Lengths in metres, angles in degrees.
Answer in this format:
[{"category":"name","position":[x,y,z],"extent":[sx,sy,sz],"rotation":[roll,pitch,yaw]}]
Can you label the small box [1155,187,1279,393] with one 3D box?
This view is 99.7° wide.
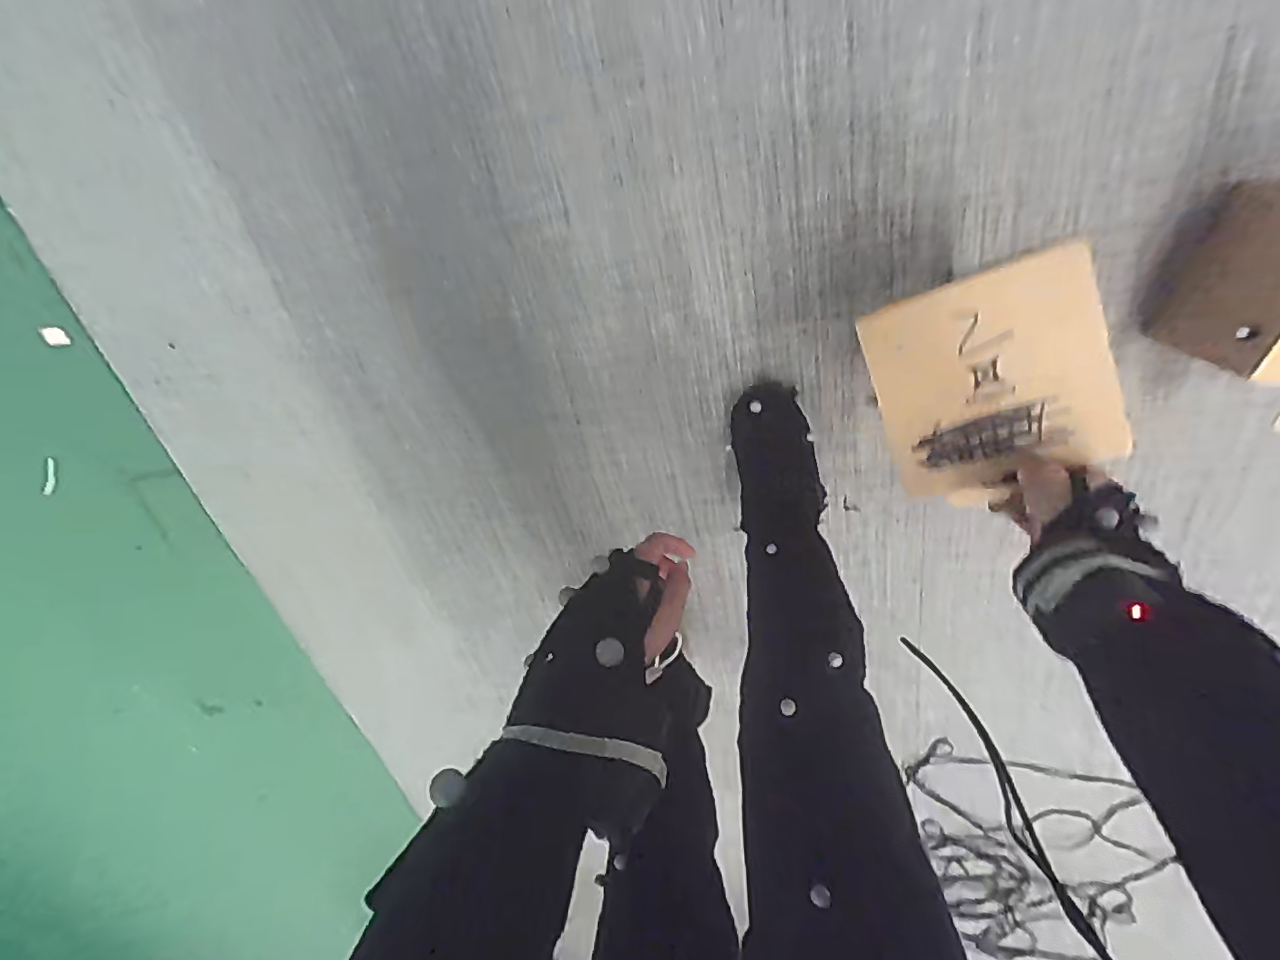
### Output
[{"category":"small box","position":[0.691,-0.186,0.542],"extent":[0.168,0.176,0.179],"rotation":[11,121,4]}]
